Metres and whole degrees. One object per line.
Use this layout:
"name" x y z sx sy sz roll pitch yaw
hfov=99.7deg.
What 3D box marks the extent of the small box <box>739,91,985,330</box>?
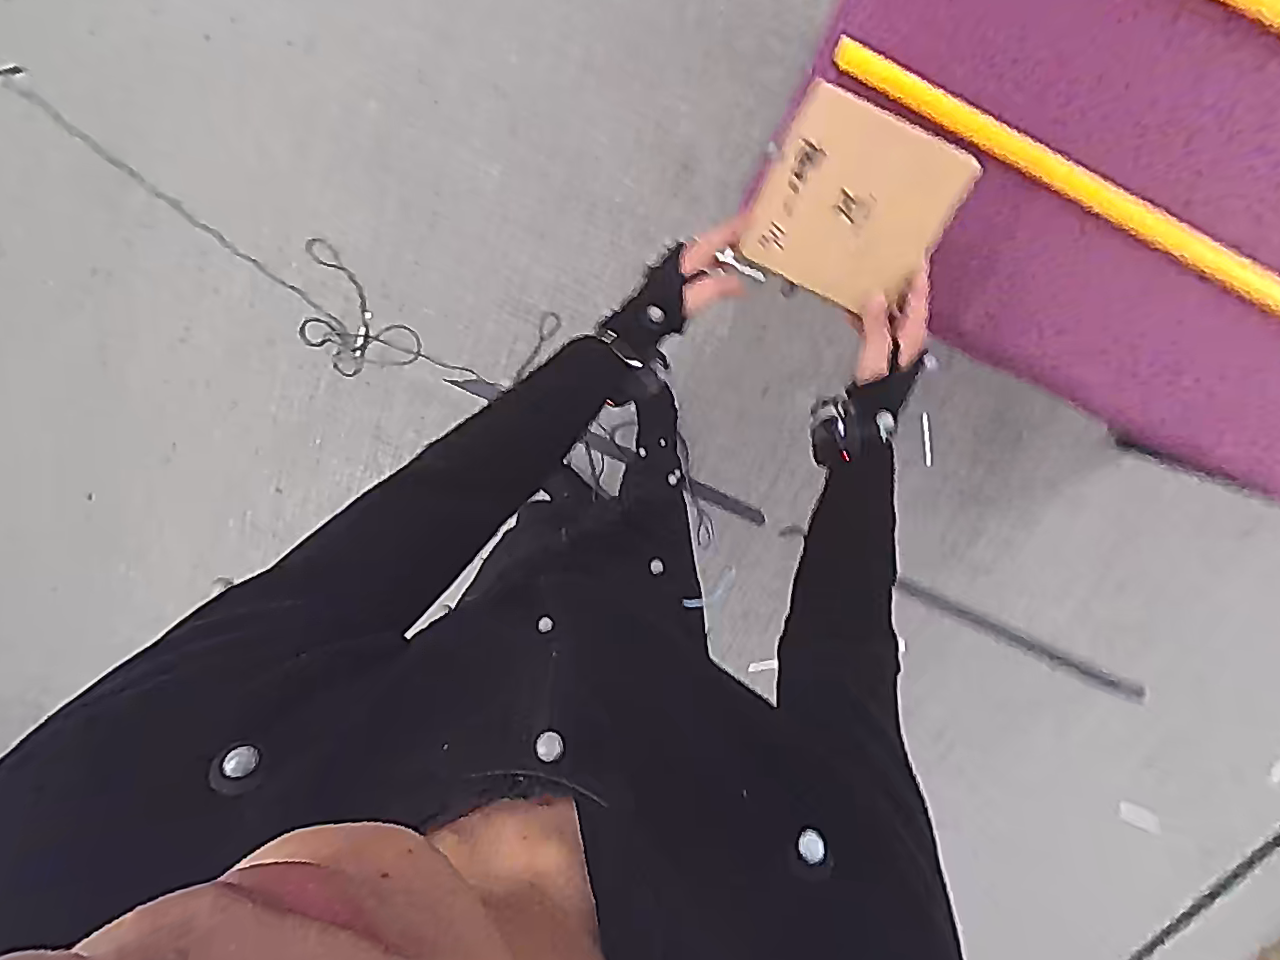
"small box" 0.229 -0.293 0.613 0.179 0.176 0.168 25 112 -4
